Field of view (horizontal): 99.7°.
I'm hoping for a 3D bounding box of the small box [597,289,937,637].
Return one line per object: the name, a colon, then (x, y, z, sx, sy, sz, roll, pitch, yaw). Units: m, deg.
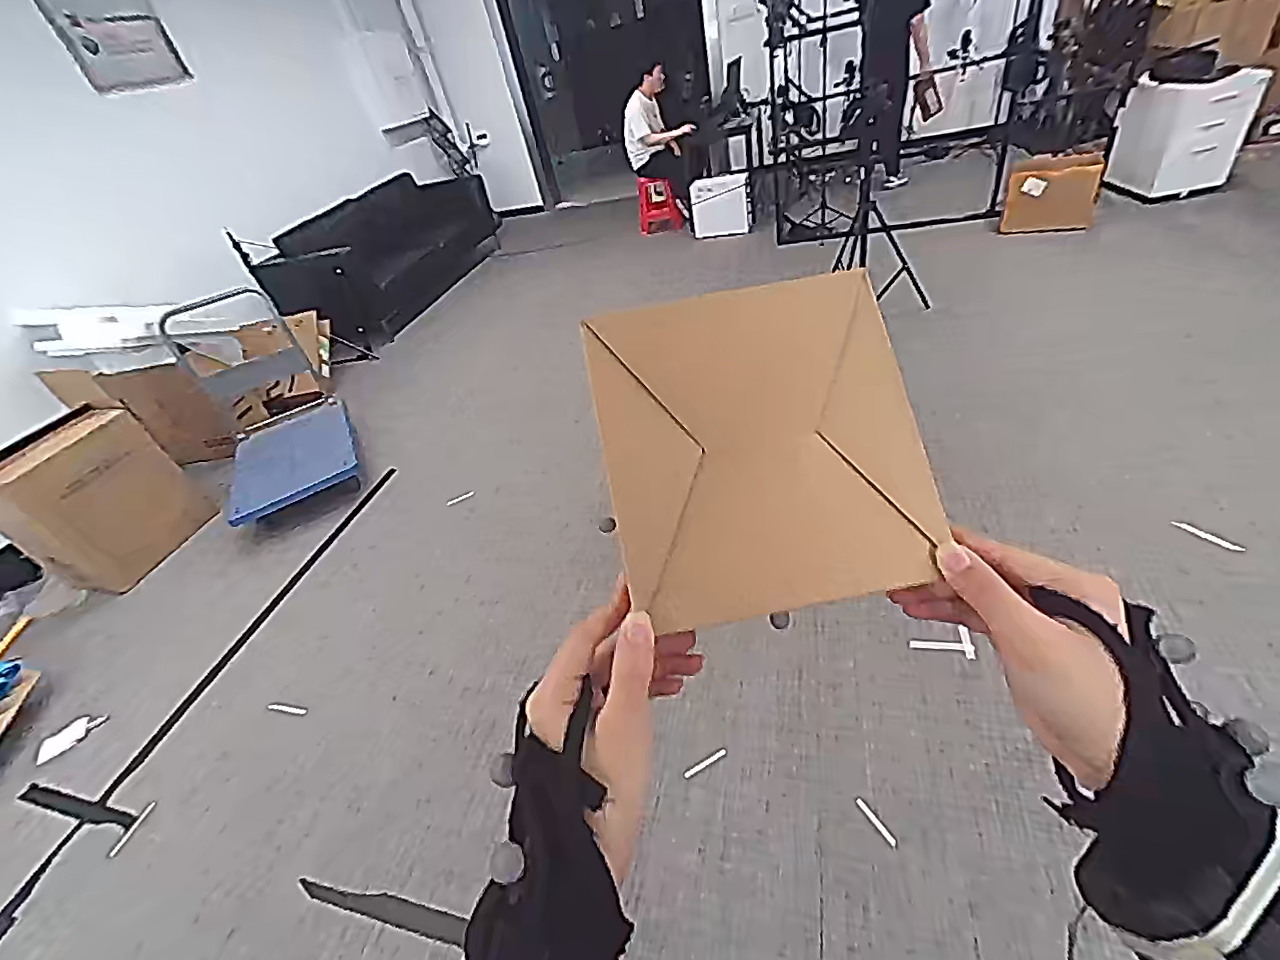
small box: (0.067, 0.003, 0.369, 0.168, 0.176, 0.179, -10, 78, -2)
